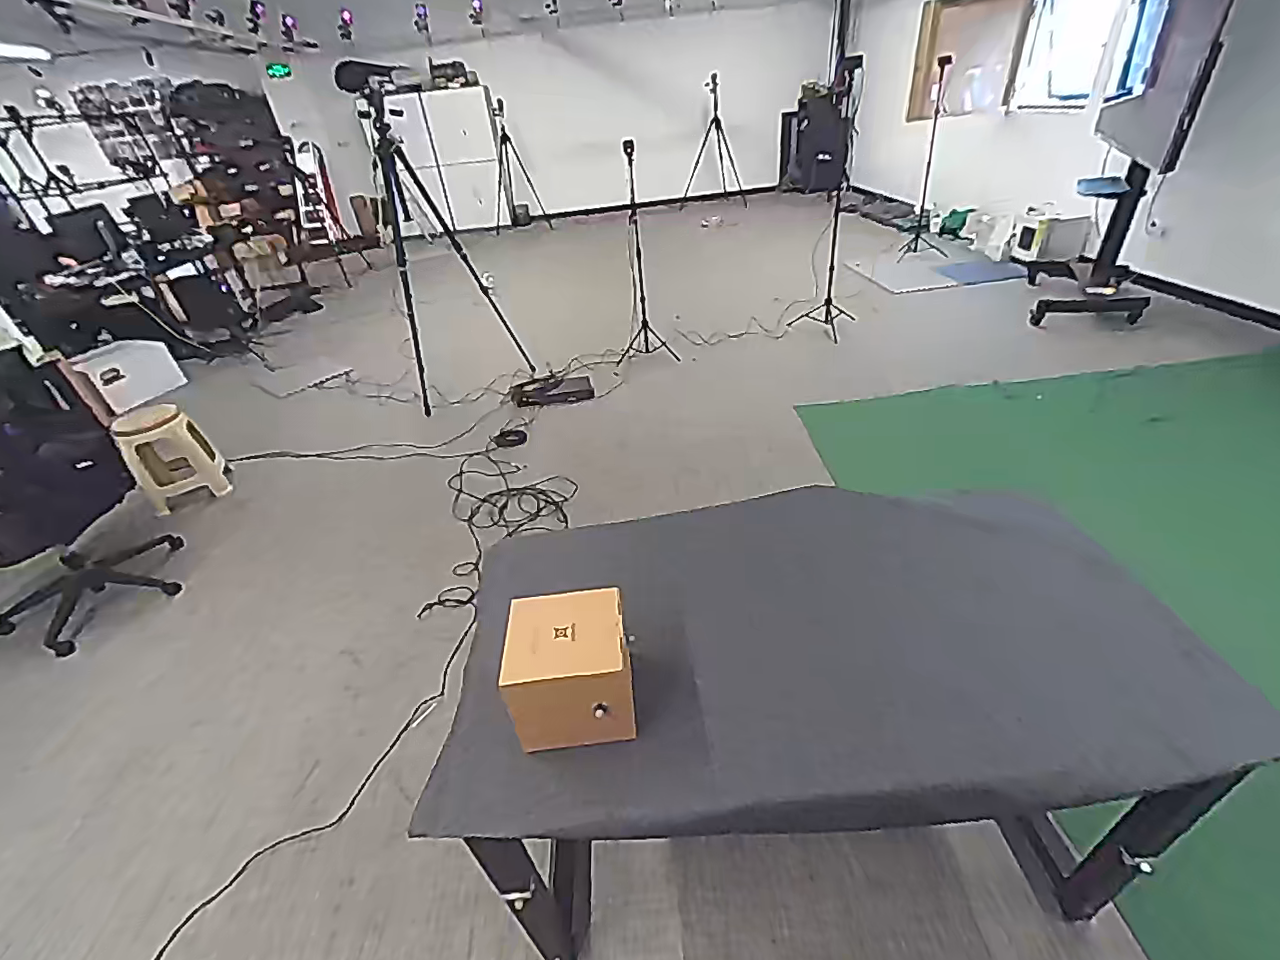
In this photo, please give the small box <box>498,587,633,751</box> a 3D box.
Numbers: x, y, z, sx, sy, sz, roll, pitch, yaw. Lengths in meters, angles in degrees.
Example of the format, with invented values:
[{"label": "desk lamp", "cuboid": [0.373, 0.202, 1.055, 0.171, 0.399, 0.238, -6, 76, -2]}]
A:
[{"label": "small box", "cuboid": [-0.106, 0.295, 0.848, 0.179, 0.176, 0.168, -9, 33, 0]}]
